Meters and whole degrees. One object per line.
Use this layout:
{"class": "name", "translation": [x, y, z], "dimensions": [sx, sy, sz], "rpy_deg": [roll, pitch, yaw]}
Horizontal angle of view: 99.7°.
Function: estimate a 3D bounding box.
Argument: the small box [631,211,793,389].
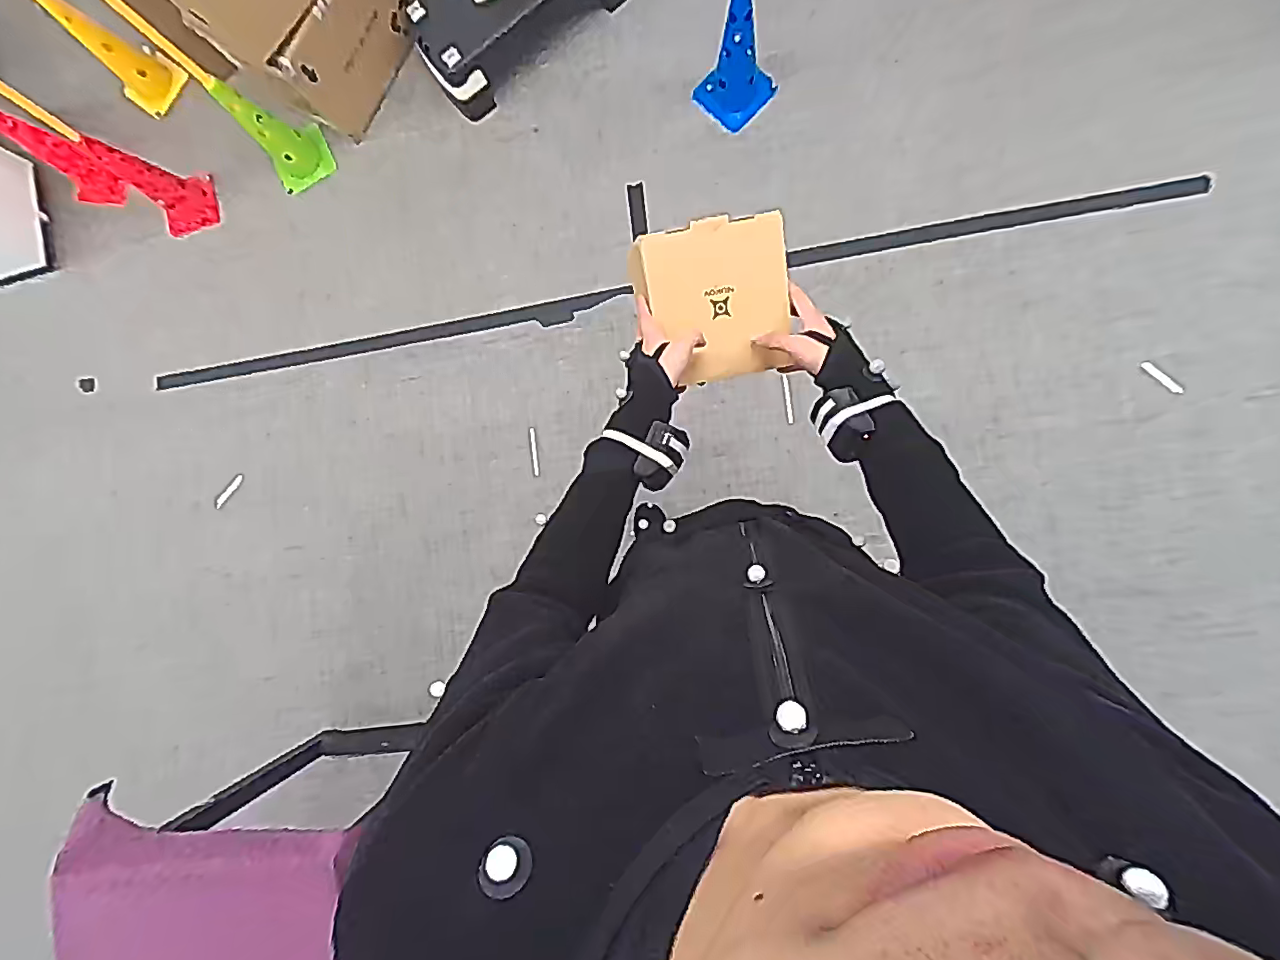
{"class": "small box", "translation": [0.085, -0.227, 0.699], "dimensions": [0.168, 0.176, 0.179], "rpy_deg": [-11, 107, -2]}
